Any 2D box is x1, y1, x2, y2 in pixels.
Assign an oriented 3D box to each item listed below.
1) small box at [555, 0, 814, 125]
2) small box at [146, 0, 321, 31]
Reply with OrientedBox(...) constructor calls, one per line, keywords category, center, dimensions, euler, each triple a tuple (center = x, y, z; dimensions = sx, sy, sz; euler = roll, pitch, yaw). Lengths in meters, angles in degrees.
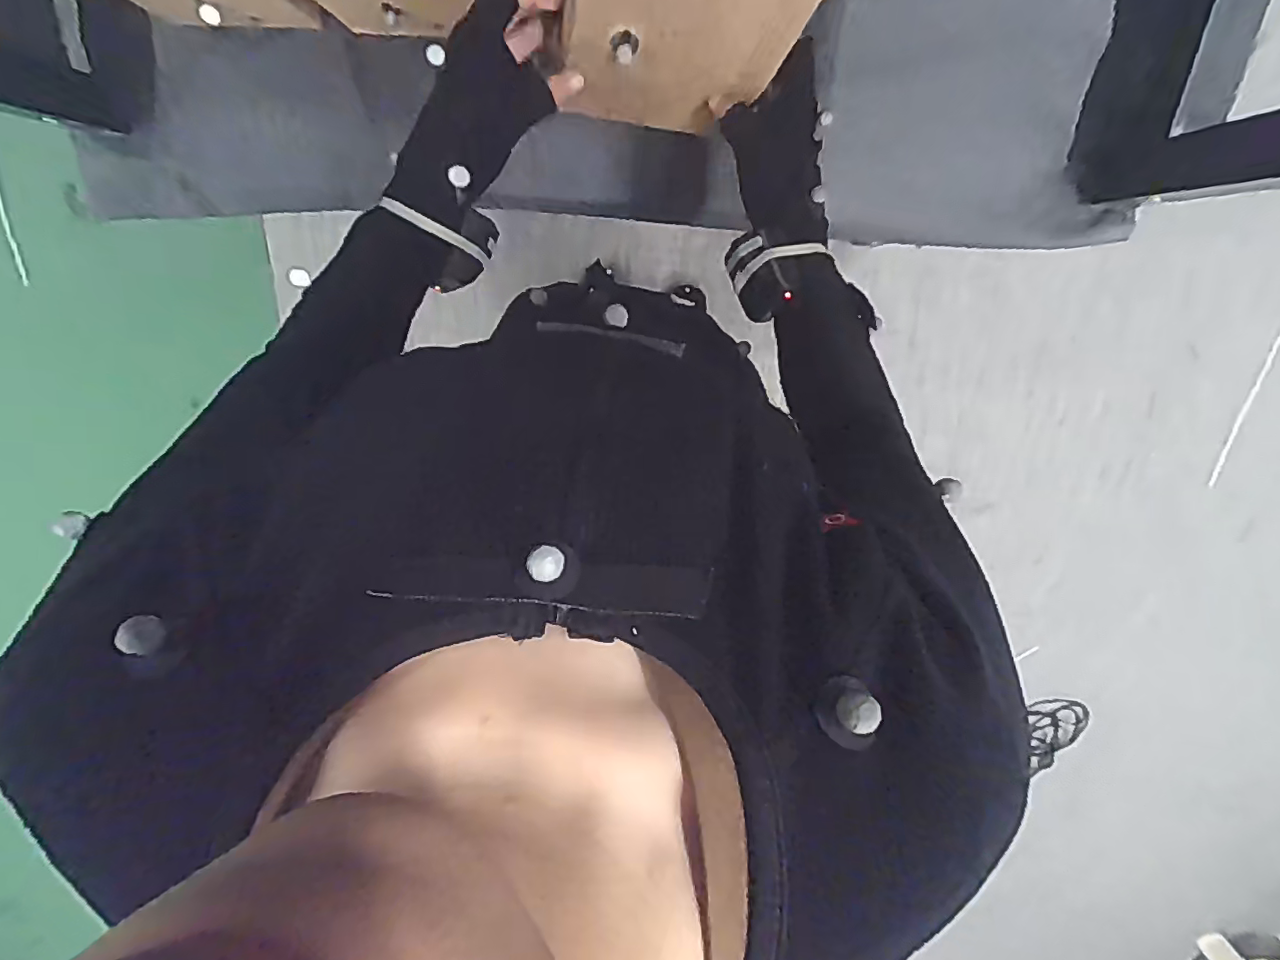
OrientedBox(category="small box", center=(0.028, -0.401, 0.398), dimensions=(0.176, 0.179, 0.168), euler=(-1, 87, -14))
OrientedBox(category="small box", center=(-0.414, -0.535, 0.469), dimensions=(0.168, 0.176, 0.179), euler=(3, 111, 2))
